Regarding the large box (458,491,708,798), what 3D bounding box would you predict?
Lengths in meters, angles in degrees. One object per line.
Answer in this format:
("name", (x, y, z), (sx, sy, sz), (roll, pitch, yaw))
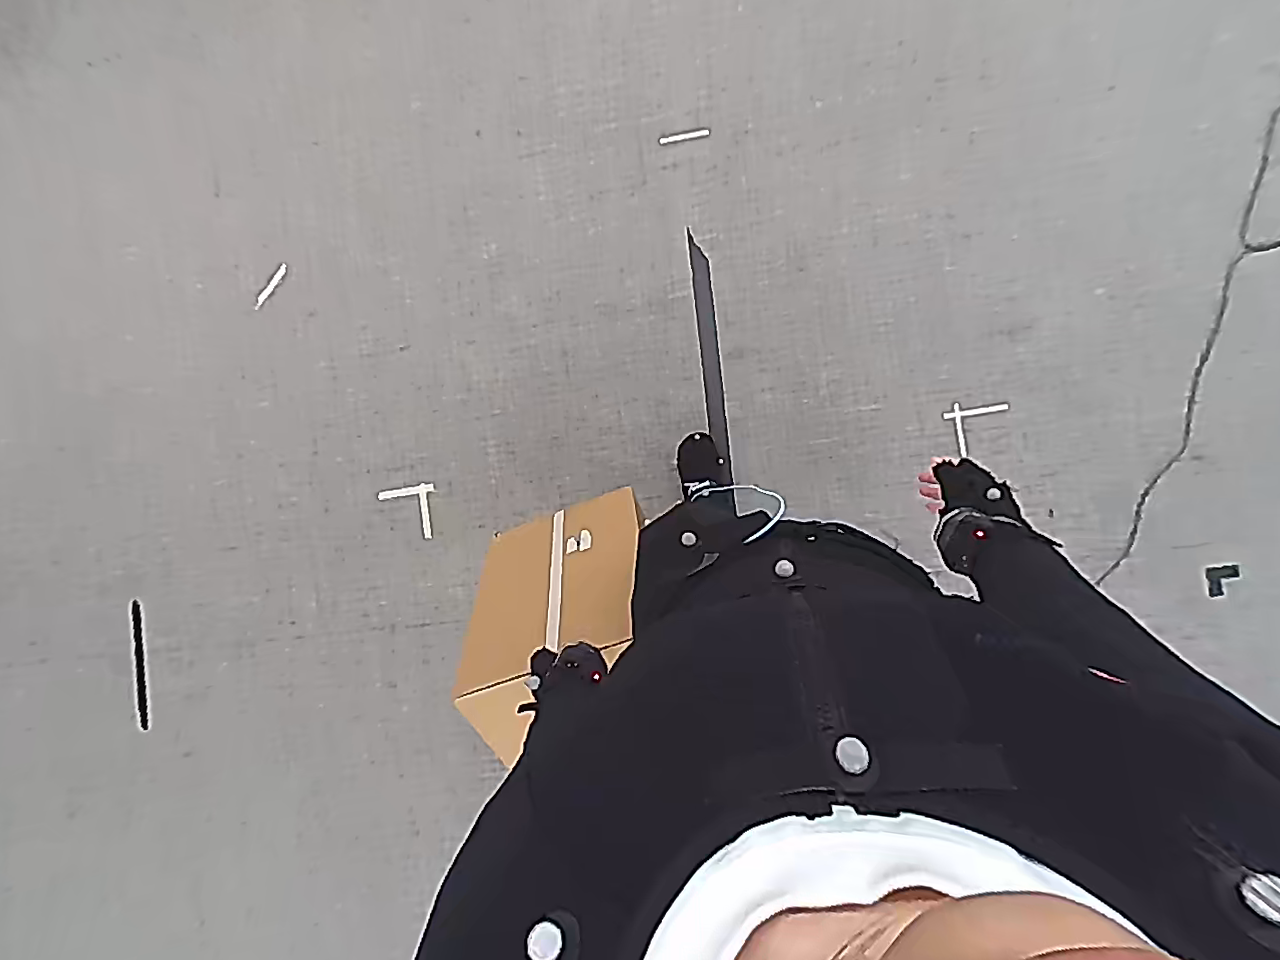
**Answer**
("large box", (-0.092, 0.288, 1.019), (0.320, 0.408, 0.320), (-19, 118, 6))
